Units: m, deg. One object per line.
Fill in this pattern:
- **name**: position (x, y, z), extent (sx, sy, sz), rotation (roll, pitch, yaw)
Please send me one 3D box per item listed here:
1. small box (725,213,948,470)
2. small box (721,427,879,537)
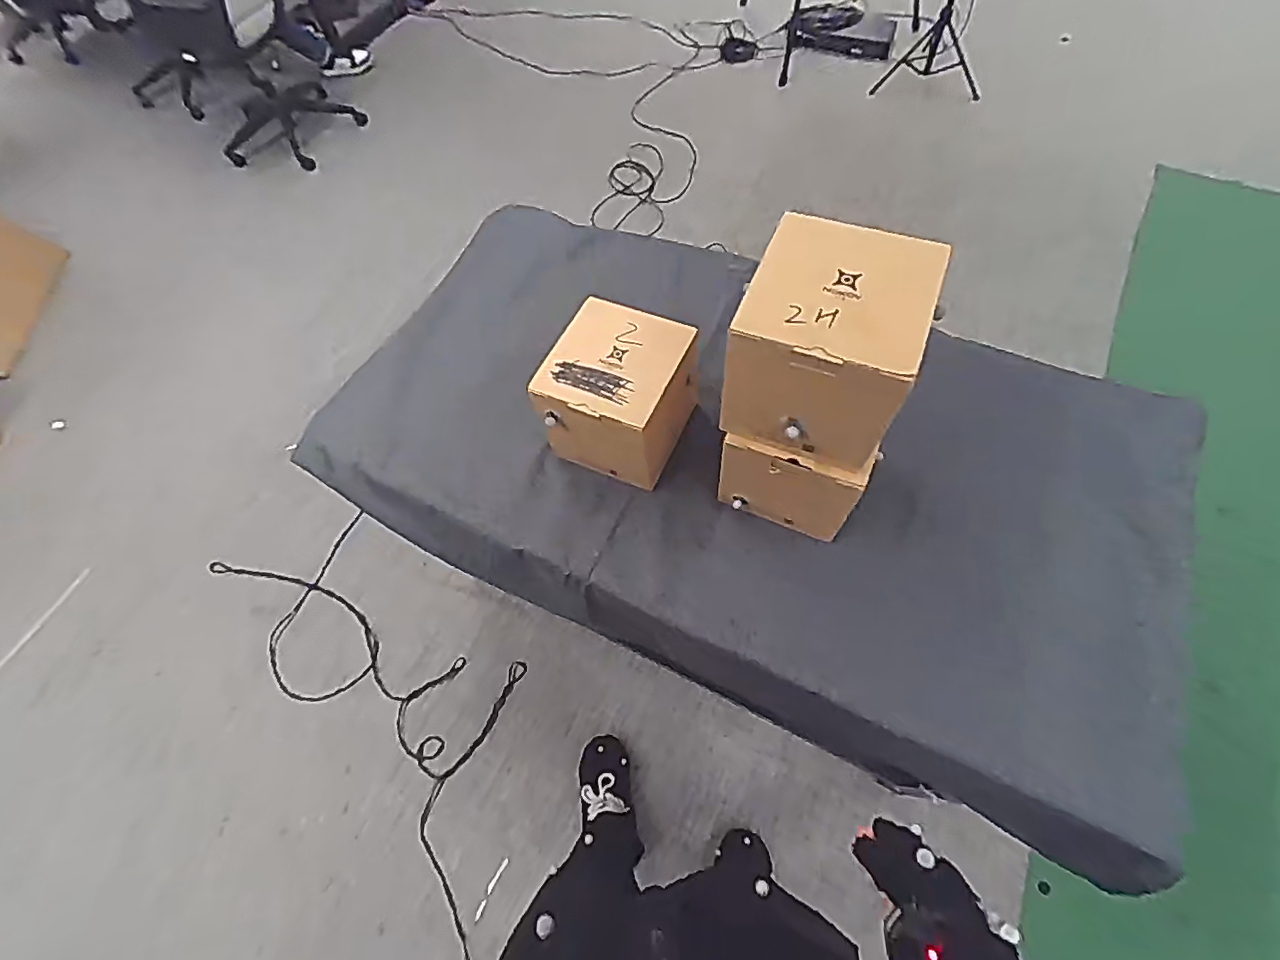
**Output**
- **small box**: position (0.194, -0.140, 0.574), extent (0.168, 0.176, 0.179), rotation (20, 67, 15)
- **small box**: position (0.212, -0.049, 0.709), extent (0.168, 0.176, 0.179), rotation (21, 66, 15)
